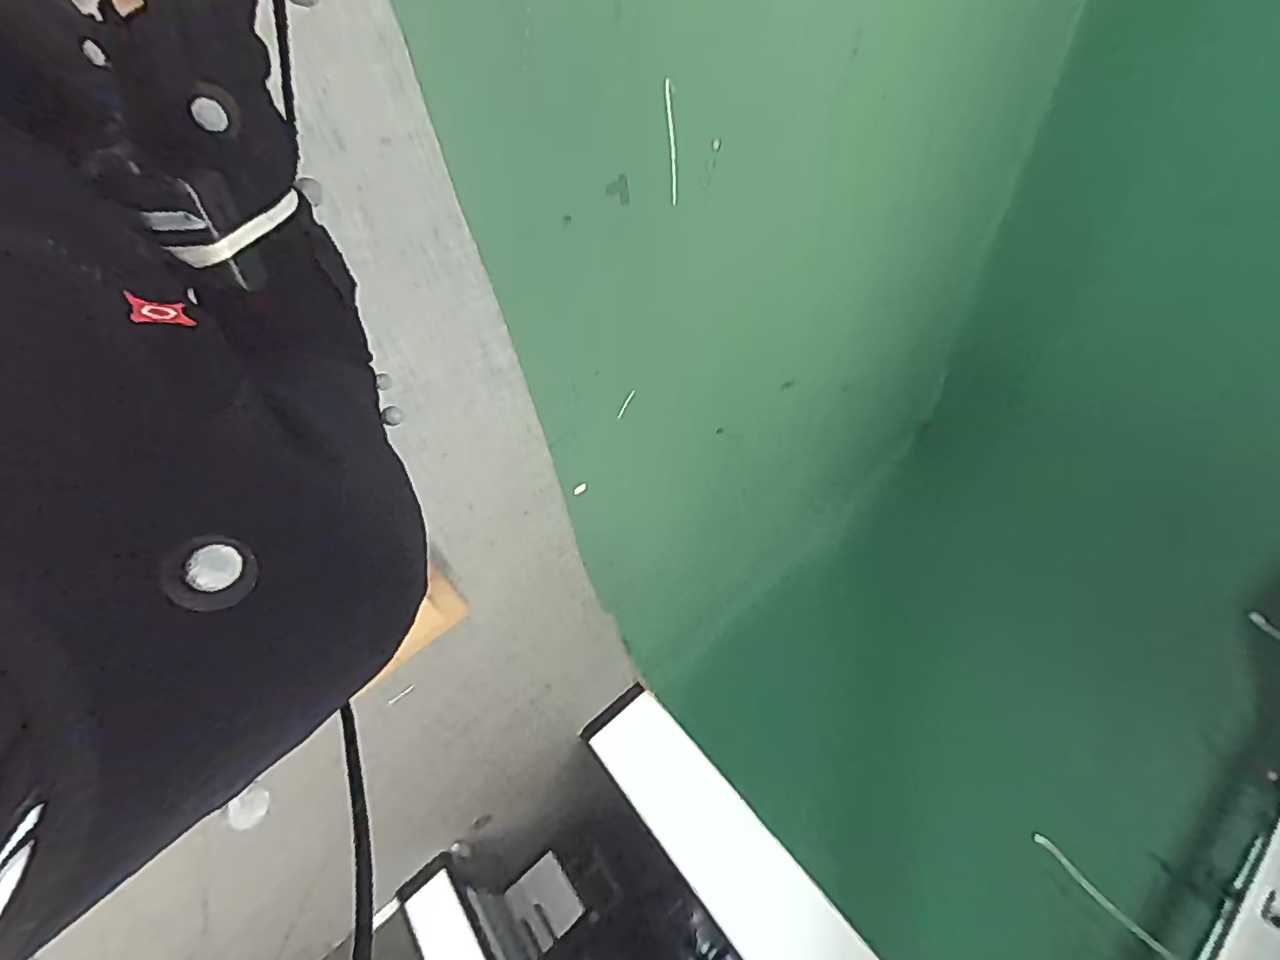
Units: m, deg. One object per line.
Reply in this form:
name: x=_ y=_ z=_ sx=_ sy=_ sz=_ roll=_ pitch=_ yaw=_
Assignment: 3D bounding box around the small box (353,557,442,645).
small box: x=-0.755 y=0.373 z=1.686 sx=0.168 sy=0.176 sz=0.179 roll=-37 pitch=142 yaw=-20
